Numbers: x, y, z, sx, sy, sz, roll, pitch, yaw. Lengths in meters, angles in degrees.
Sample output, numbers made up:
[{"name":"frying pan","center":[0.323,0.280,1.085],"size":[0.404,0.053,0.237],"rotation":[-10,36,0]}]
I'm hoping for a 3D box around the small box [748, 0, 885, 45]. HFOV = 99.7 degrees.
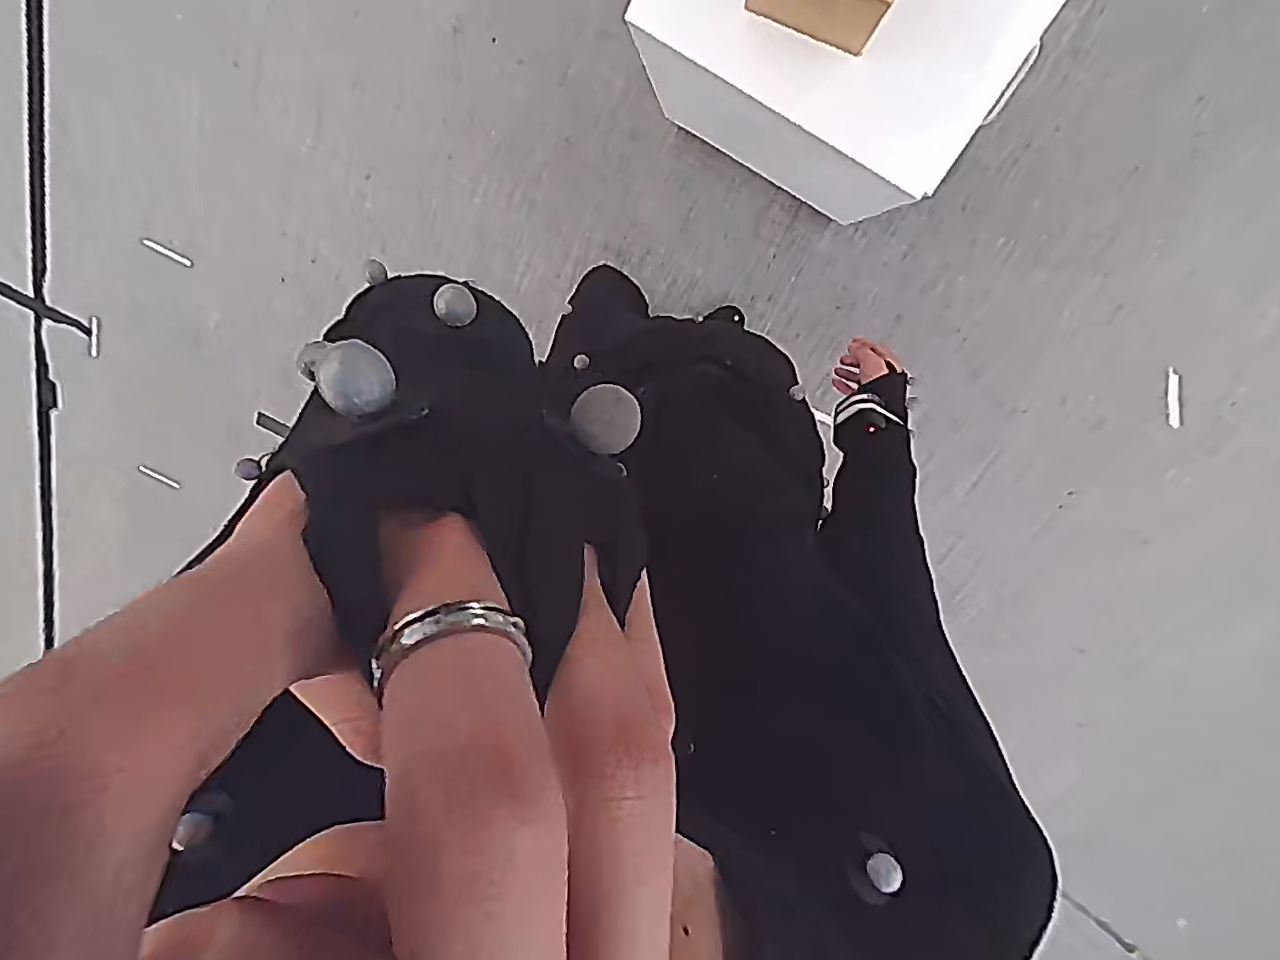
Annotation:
[{"name":"small box","center":[0.239,-0.667,0.646],"size":[0.179,0.176,0.168],"rotation":[22,113,-1]}]
